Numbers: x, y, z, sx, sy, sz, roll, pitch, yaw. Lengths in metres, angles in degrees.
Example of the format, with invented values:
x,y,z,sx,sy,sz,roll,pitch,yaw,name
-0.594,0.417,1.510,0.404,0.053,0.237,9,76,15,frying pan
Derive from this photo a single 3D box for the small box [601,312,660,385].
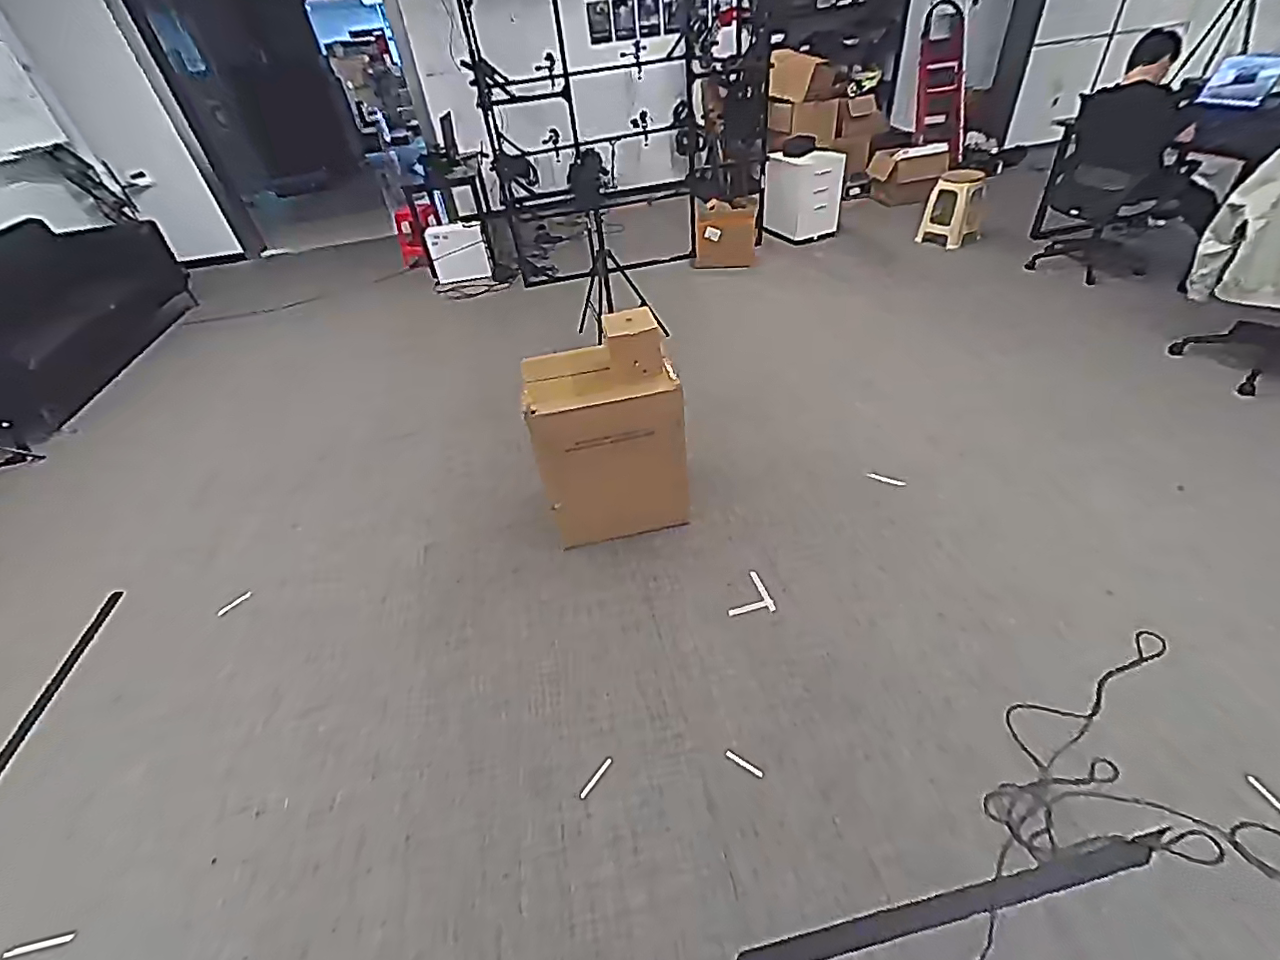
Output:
x,y,z,sx,sy,sz,roll,pitch,yaw,name
-0.032,-0.443,1.830,0.168,0.176,0.179,-13,41,-4,small box
